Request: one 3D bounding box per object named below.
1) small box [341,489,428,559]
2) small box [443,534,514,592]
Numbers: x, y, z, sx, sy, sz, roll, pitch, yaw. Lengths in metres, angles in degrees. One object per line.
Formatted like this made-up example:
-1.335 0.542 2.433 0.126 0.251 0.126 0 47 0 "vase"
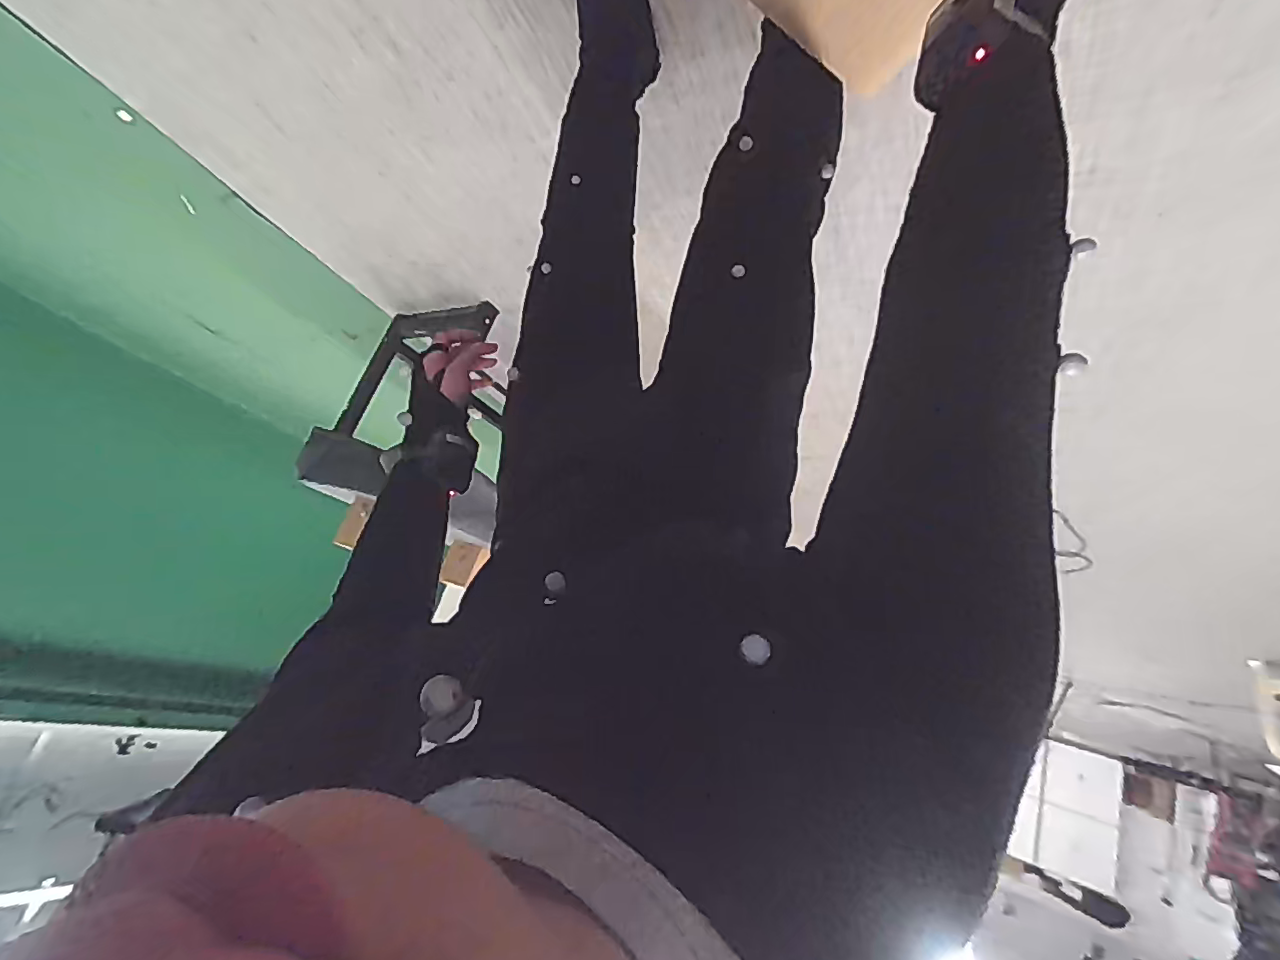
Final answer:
-0.861 0.150 1.840 0.168 0.176 0.179 10 161 28 "small box"
-0.643 0.328 2.168 0.168 0.176 0.179 9 160 32 "small box"
